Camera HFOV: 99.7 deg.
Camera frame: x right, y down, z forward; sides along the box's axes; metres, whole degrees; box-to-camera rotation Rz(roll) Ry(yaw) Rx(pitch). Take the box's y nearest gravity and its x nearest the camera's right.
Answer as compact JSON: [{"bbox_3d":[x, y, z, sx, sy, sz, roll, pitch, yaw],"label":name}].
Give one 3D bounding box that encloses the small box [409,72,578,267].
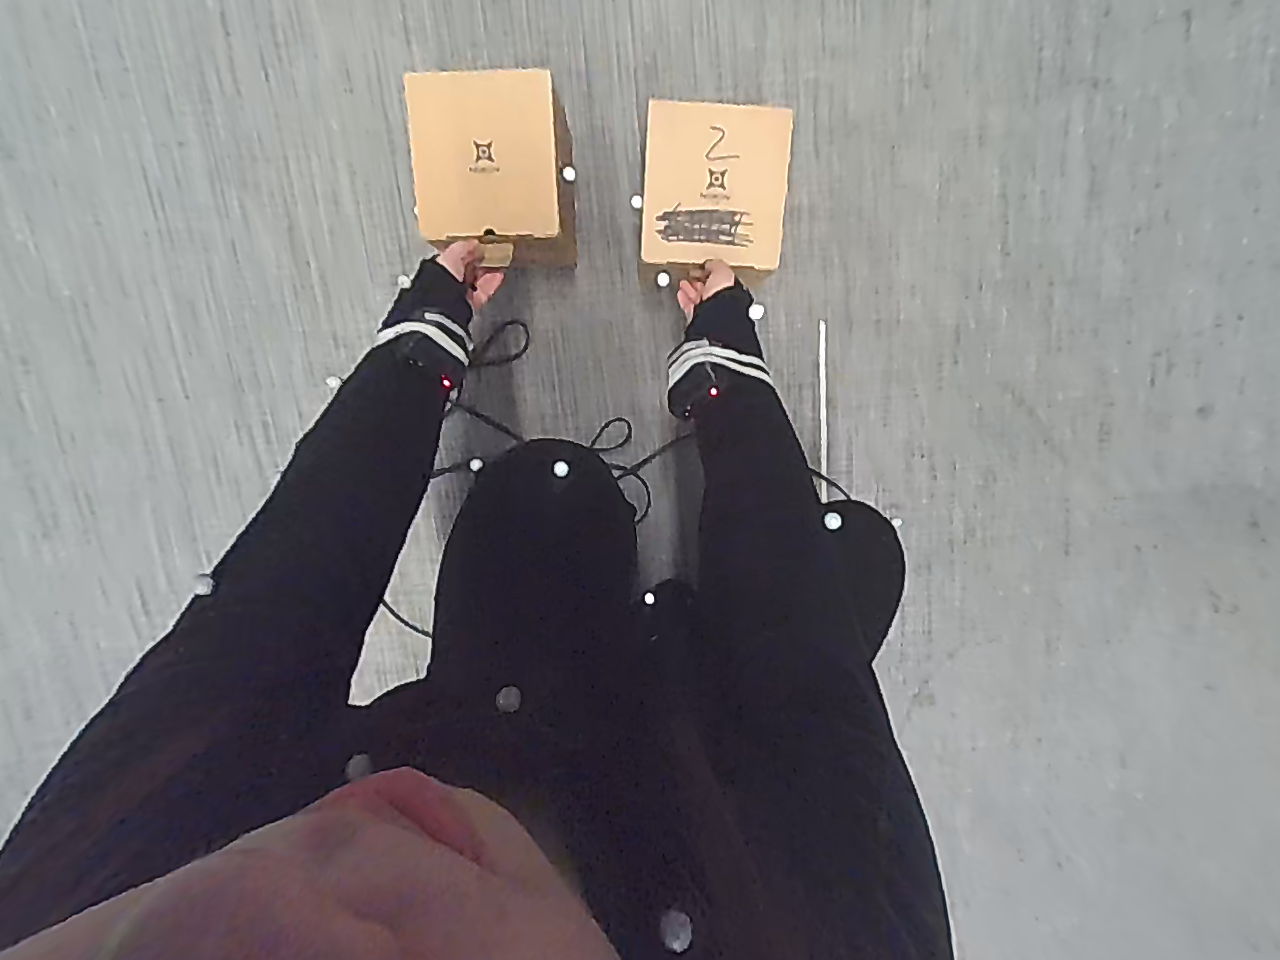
[{"bbox_3d":[-0.175,-0.384,0.699,0.168,0.176,0.179,-1,102,3],"label":"small box"}]
